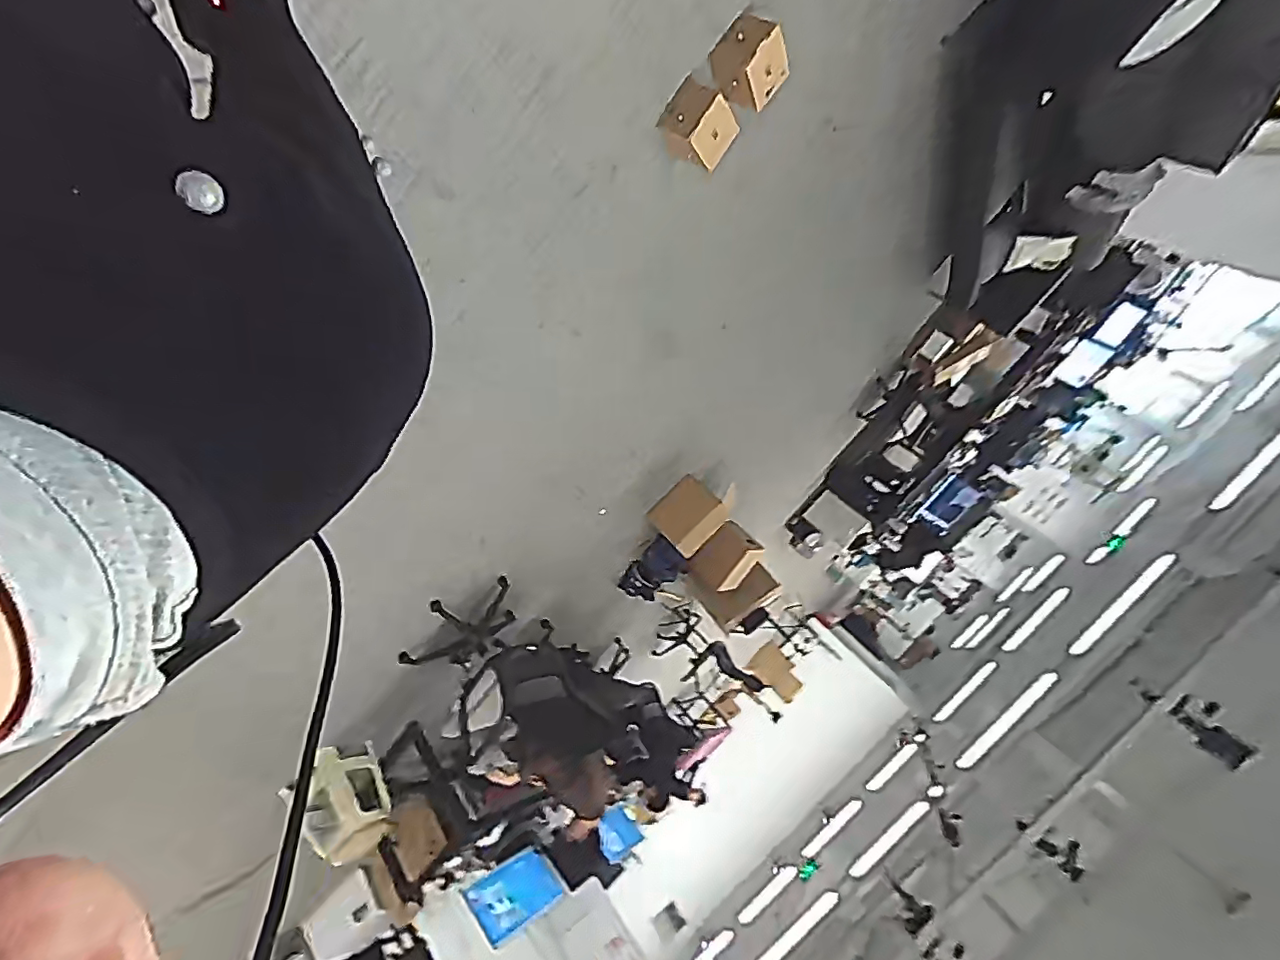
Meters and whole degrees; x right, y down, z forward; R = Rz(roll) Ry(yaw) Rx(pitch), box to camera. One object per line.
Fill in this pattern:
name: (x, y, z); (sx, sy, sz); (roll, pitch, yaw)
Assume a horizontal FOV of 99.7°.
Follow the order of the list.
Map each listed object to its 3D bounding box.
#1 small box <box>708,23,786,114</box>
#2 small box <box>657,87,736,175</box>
small box: (0.352, -1.368, 1.792); (0.168, 0.176, 0.179); (-51, 150, 6)
small box: (0.186, -1.173, 1.812); (0.168, 0.176, 0.179); (-54, 152, 14)
